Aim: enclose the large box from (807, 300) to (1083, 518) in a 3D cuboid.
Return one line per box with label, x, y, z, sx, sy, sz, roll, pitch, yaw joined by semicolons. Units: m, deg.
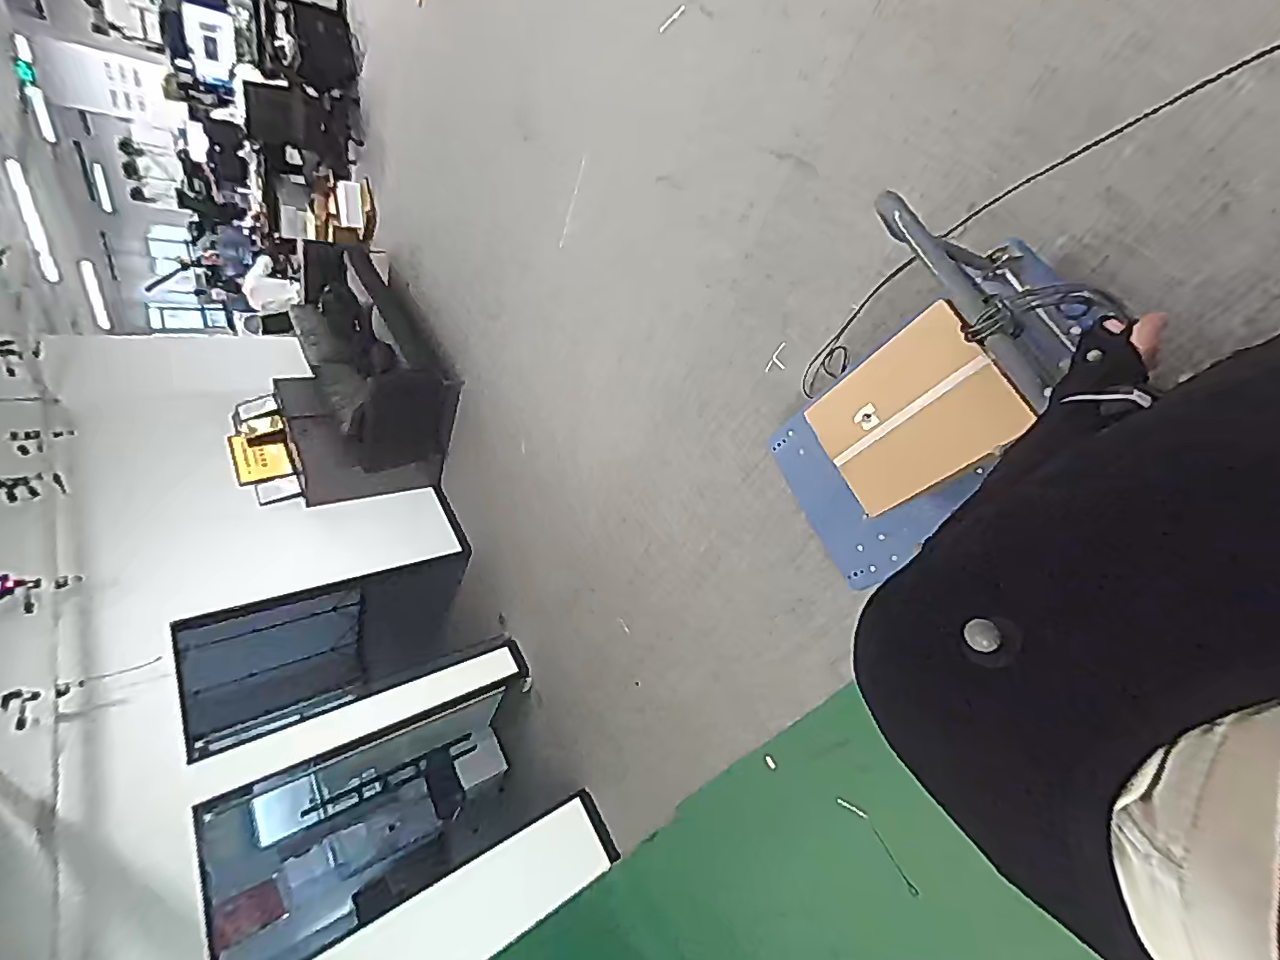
large box;0.691;-0.163;1.263;0.408;0.320;0.320;-46;63;47
